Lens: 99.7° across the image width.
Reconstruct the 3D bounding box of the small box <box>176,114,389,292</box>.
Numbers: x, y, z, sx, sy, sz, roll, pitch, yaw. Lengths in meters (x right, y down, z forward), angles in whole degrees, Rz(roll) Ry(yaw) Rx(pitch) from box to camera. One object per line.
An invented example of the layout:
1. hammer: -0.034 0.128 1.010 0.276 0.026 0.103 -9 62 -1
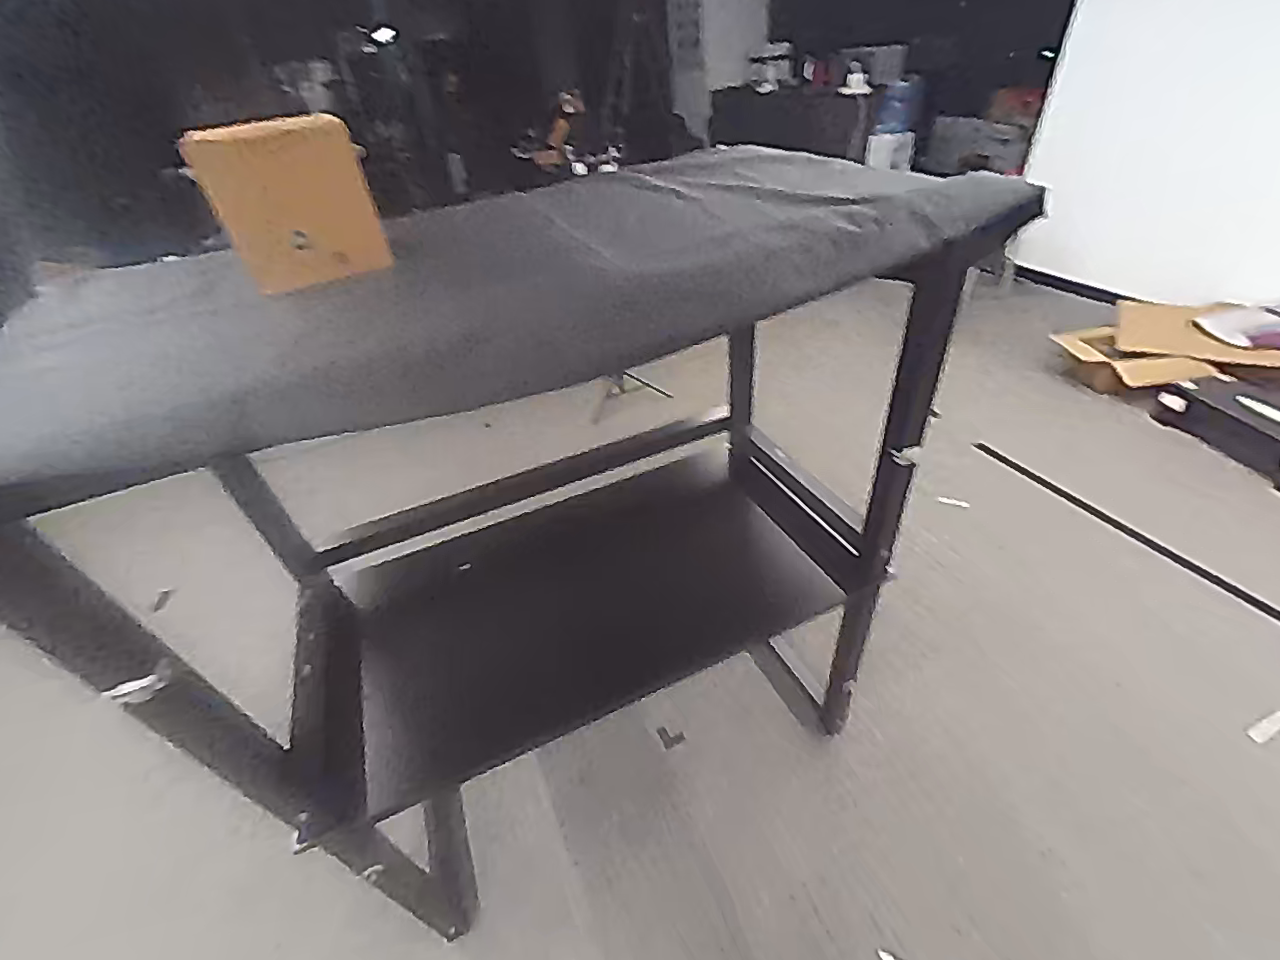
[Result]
1. small box: -0.450 -0.361 0.702 0.168 0.176 0.179 -24 43 -19
